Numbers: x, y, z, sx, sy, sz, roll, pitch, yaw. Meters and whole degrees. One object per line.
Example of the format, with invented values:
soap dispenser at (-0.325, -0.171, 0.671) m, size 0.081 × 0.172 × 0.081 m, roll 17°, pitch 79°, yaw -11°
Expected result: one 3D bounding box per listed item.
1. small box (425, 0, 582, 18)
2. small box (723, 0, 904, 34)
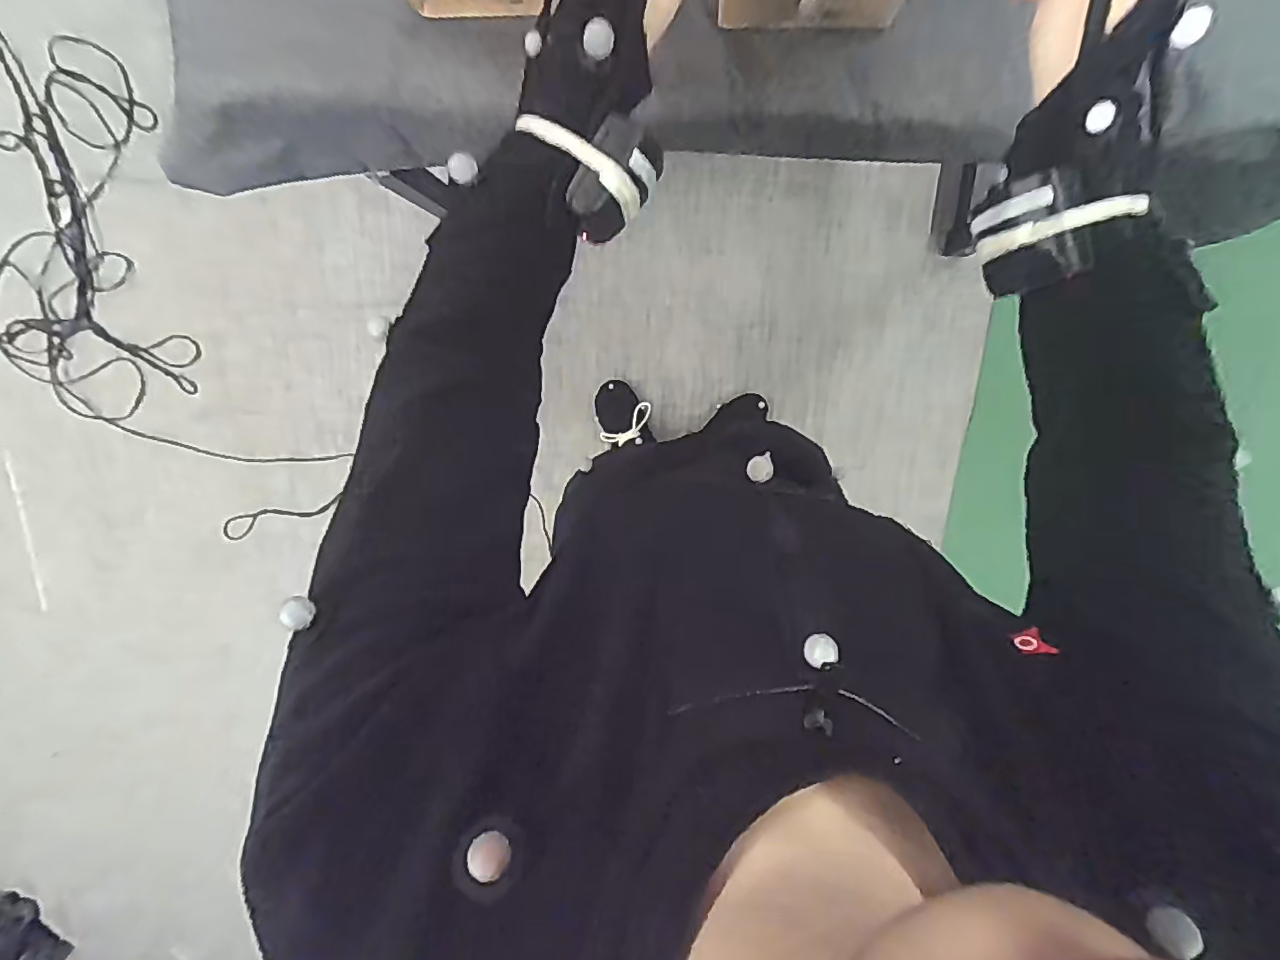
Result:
small box at (-0.139, -0.532, 0.445) m, size 0.168 × 0.176 × 0.179 m, roll 1°, pitch 103°, yaw 3°
small box at (0.159, -0.508, 0.432) m, size 0.168 × 0.176 × 0.179 m, roll 2°, pitch 102°, yaw 3°
